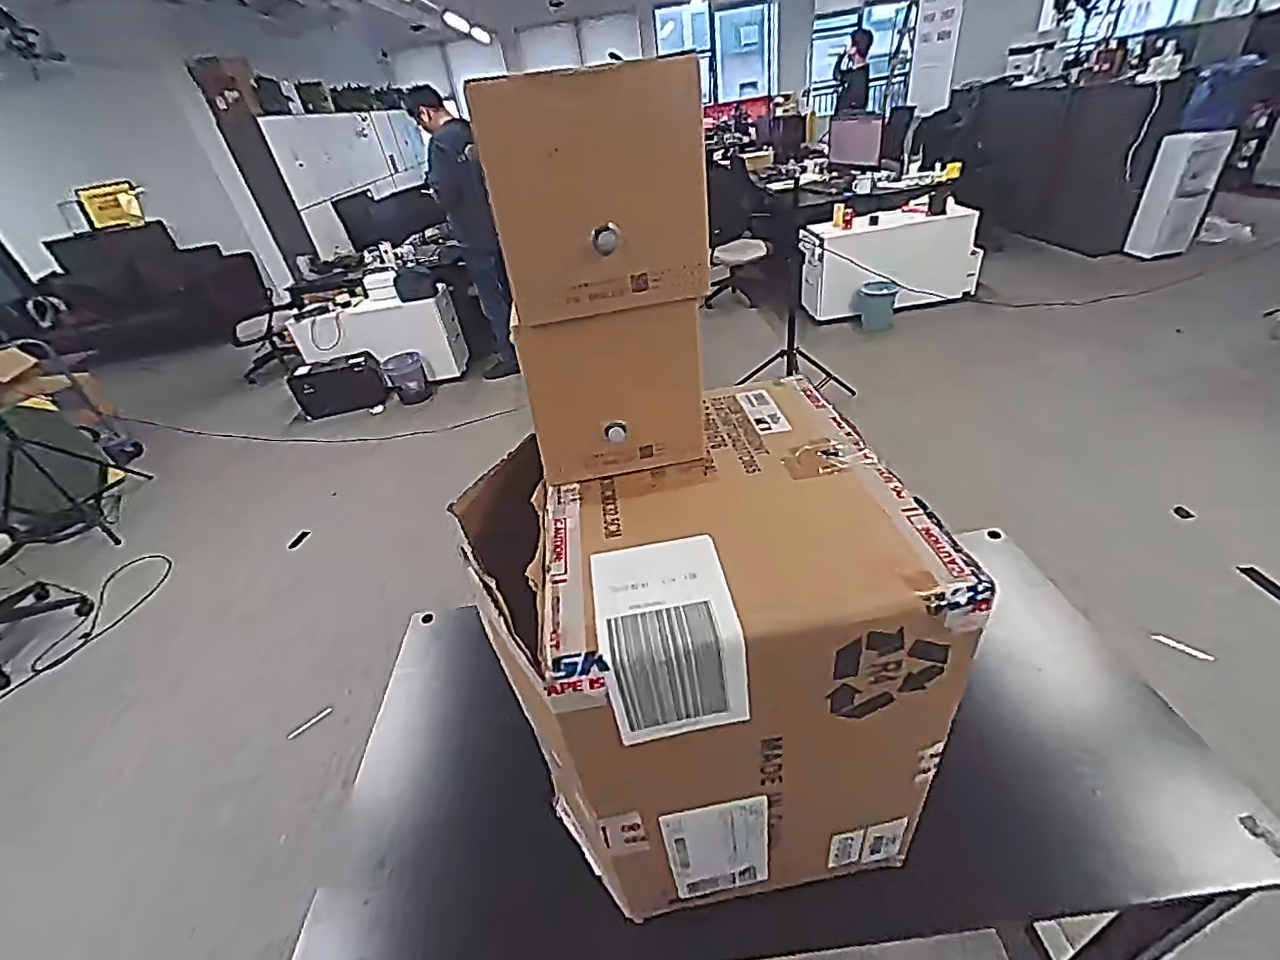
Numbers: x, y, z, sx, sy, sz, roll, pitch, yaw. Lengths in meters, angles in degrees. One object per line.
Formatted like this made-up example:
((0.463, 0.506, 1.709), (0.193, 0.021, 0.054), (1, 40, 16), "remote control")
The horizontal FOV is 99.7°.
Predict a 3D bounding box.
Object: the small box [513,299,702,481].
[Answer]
((-0.034, -0.121, 0.585), (0.168, 0.176, 0.179), (-10, 34, -4), "small box")

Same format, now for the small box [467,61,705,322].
((-0.044, -0.254, 0.488), (0.168, 0.176, 0.179), (-12, 33, -5), "small box")
